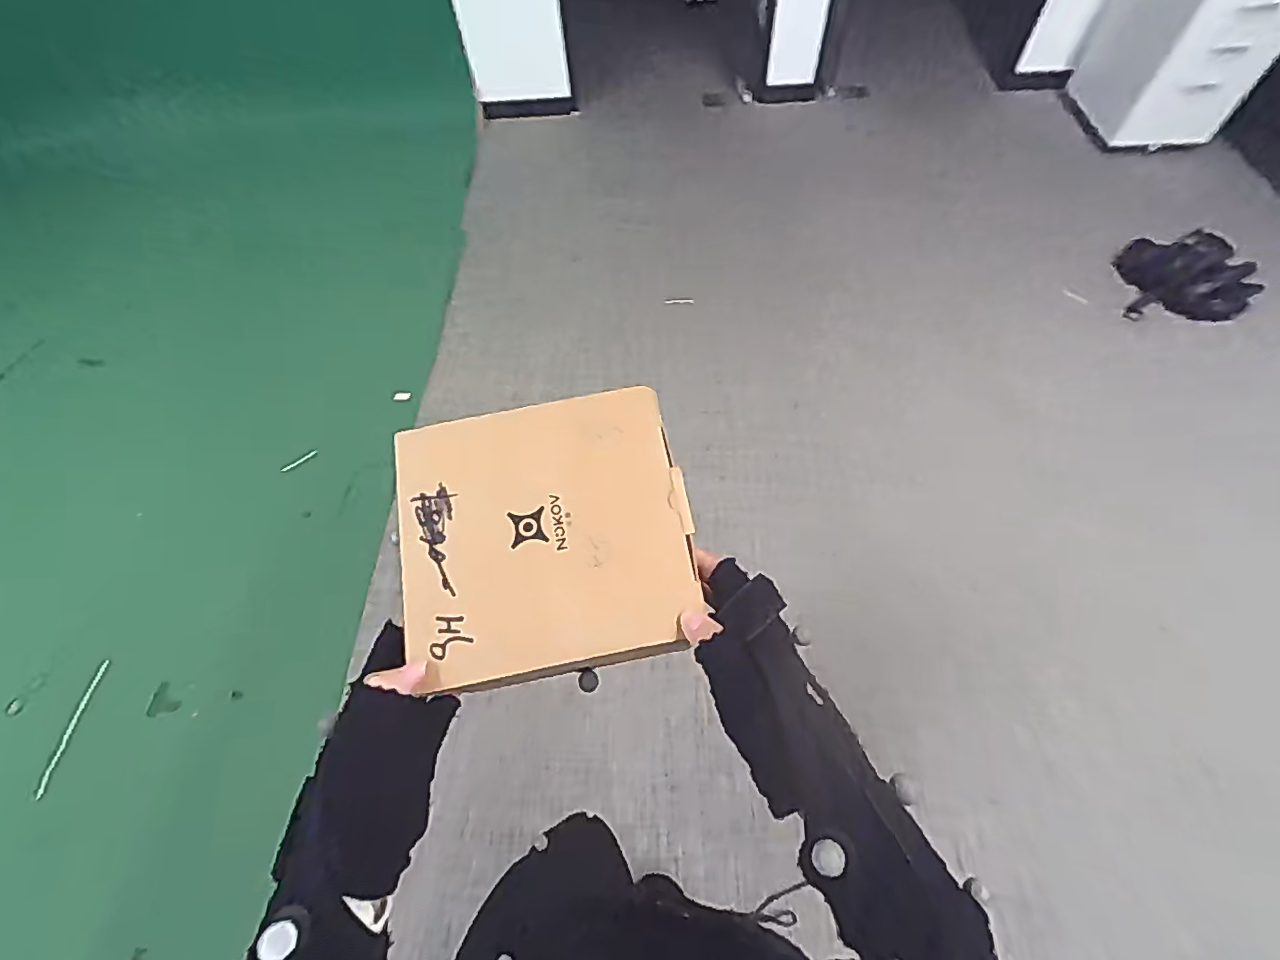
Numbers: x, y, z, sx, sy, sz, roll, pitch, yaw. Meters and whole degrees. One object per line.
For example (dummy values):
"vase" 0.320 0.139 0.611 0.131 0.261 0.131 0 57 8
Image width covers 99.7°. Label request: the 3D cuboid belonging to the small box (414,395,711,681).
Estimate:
"small box" -0.056 0.055 0.419 0.179 0.176 0.168 -9 69 -4
